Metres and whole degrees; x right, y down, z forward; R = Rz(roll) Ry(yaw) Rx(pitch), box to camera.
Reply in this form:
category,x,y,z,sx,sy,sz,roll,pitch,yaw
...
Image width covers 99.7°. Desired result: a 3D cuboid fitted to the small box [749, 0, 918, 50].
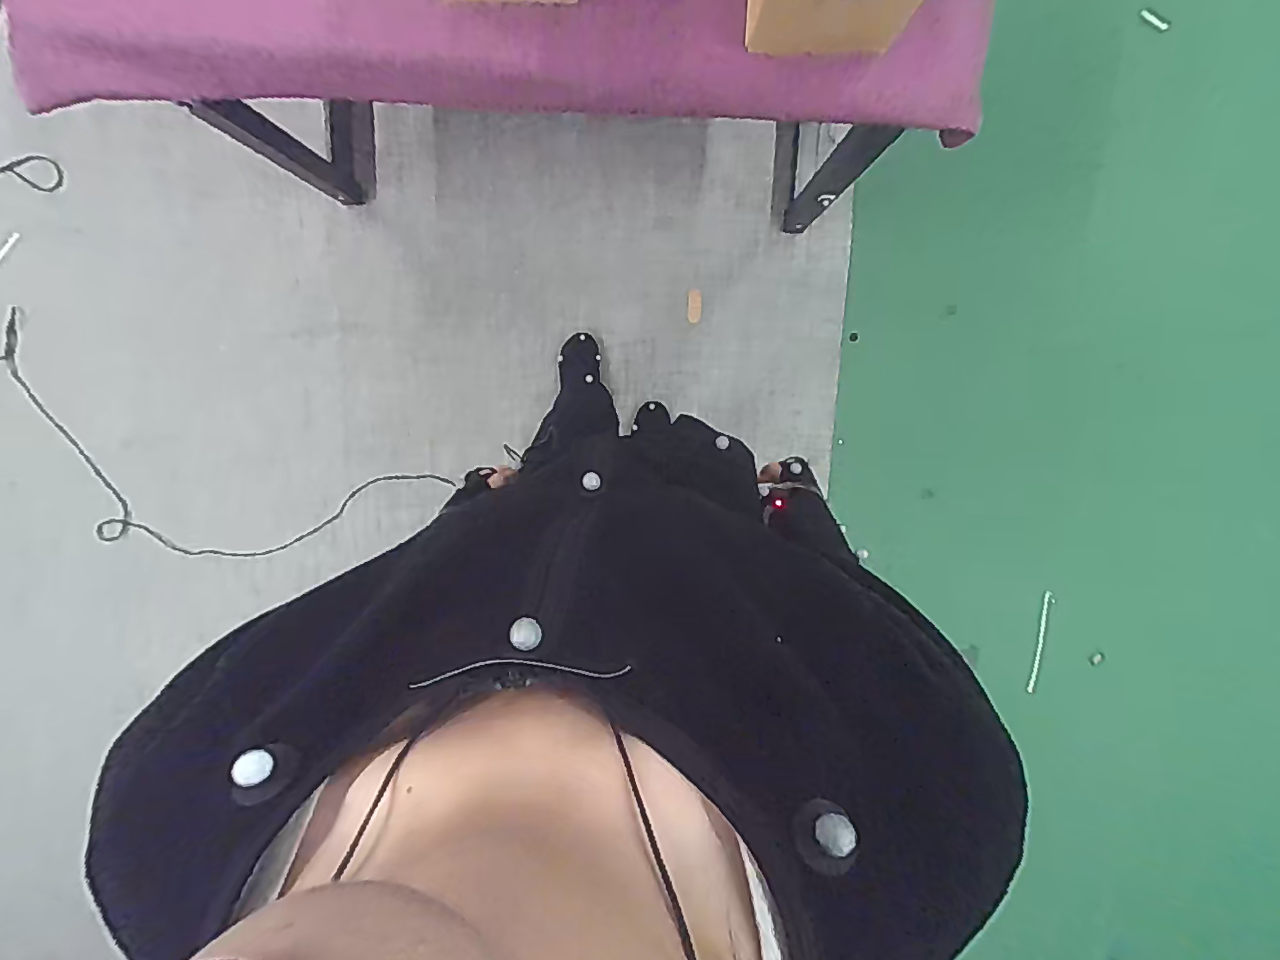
category,x,y,z,sx,sy,sz,roll,pitch,yaw
small box,0.222,-0.600,0.579,0.179,0.176,0.168,1,101,3
